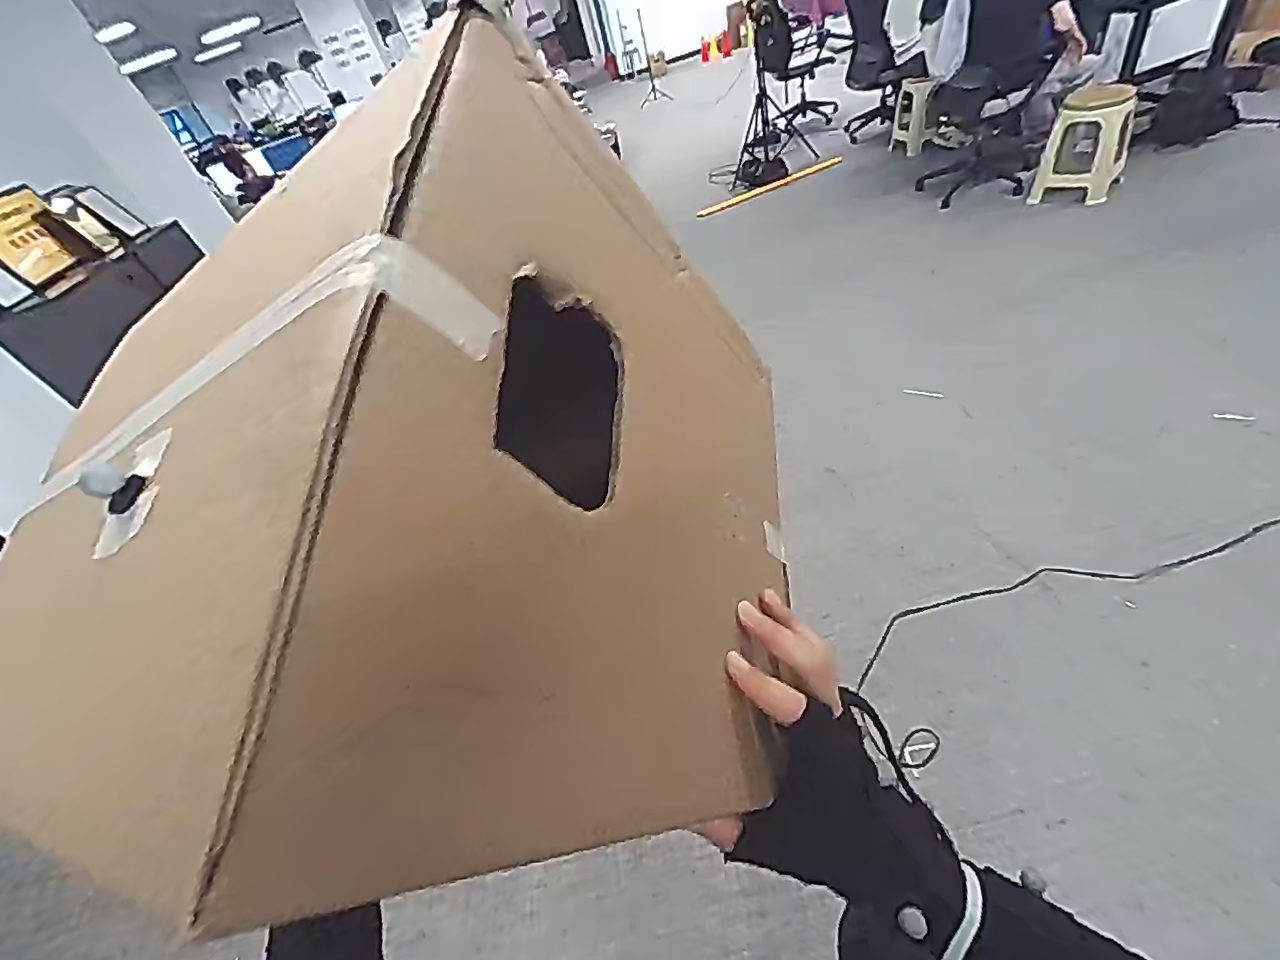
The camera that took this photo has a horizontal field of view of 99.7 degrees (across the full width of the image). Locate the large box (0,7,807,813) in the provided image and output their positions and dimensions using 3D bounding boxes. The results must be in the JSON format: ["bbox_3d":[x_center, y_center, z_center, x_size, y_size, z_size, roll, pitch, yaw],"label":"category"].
[{"bbox_3d":[-0.136,0.026,0.382,0.408,0.320,0.320,-13,62,30],"label":"large box"}]
